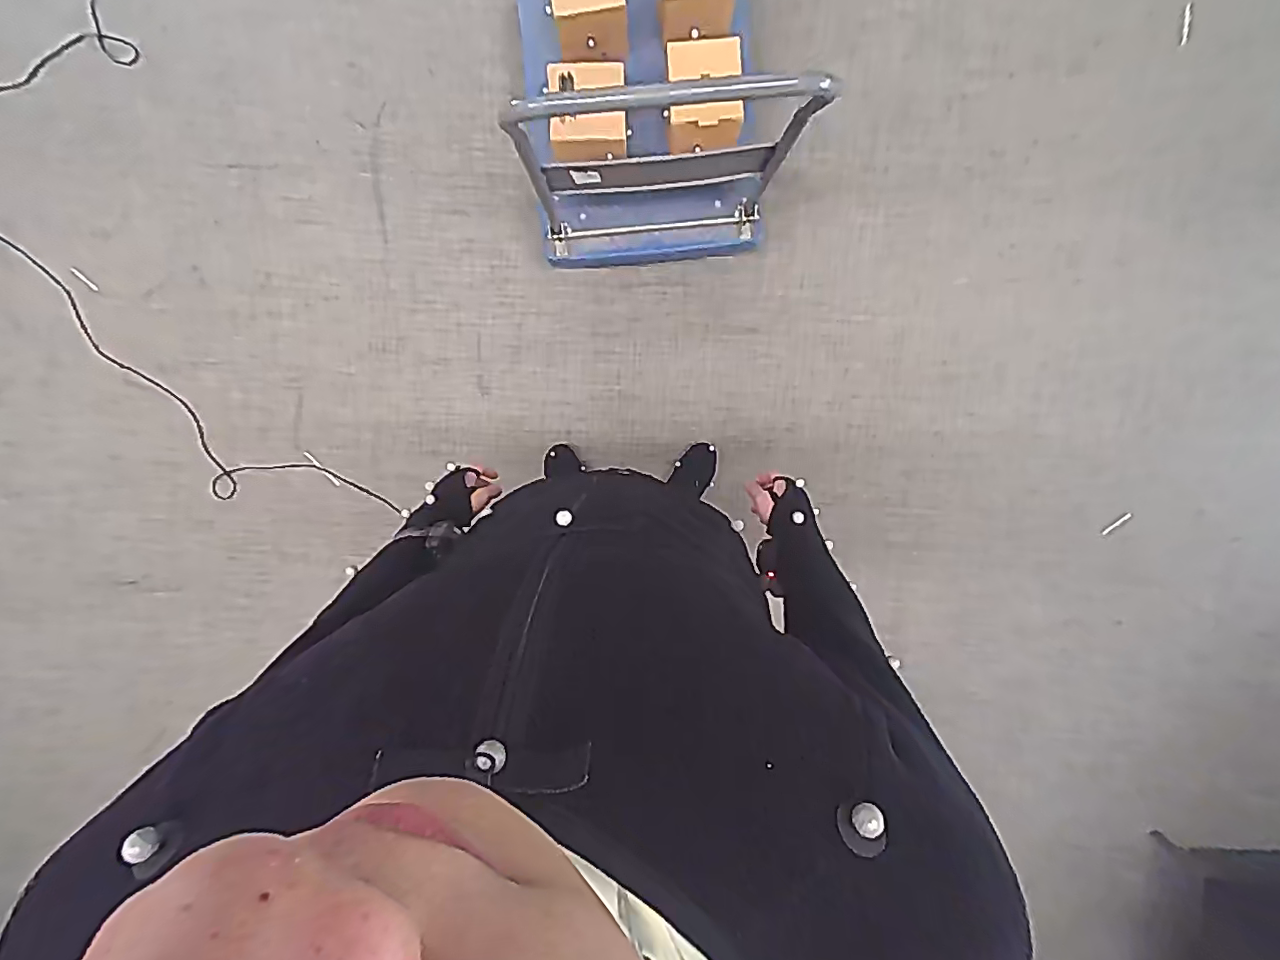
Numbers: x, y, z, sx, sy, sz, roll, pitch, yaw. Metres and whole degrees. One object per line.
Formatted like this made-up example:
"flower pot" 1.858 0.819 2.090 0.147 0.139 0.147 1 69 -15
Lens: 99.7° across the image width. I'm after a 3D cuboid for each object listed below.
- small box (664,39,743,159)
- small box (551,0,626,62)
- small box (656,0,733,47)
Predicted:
"small box" 0.148 -0.914 1.310 0.168 0.176 0.179 -4 96 1
"small box" -0.126 -1.142 1.291 0.168 0.176 0.179 -9 95 1
"small box" 0.123 -1.182 1.284 0.168 0.176 0.179 -8 96 2
